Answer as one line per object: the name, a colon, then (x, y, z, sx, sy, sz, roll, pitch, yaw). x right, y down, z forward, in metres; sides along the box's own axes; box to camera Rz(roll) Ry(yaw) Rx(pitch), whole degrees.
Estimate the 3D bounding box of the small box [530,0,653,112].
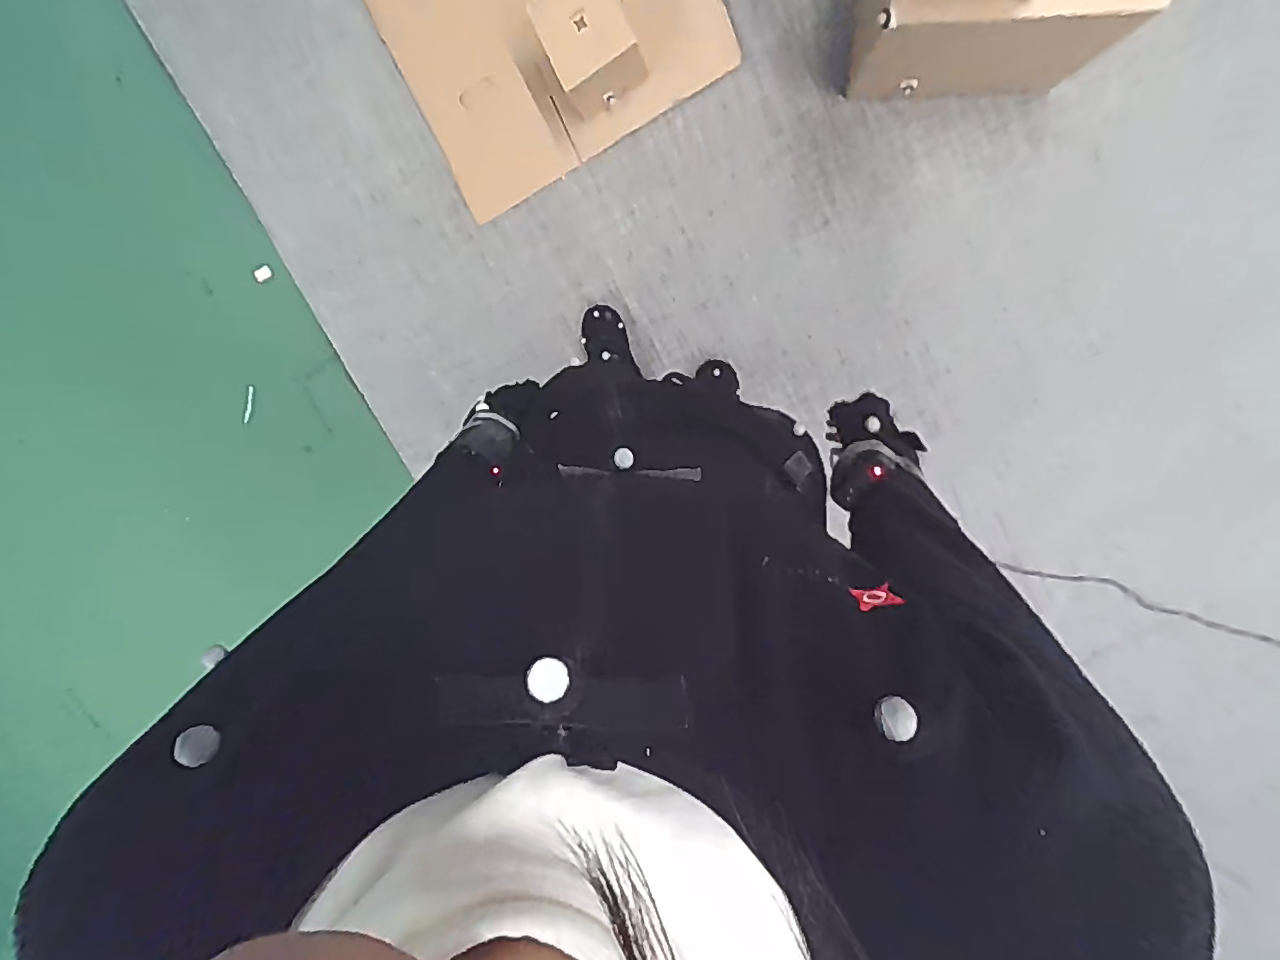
small box: (-0.091, -0.907, 1.107, 0.168, 0.176, 0.179, -25, 101, 18)
